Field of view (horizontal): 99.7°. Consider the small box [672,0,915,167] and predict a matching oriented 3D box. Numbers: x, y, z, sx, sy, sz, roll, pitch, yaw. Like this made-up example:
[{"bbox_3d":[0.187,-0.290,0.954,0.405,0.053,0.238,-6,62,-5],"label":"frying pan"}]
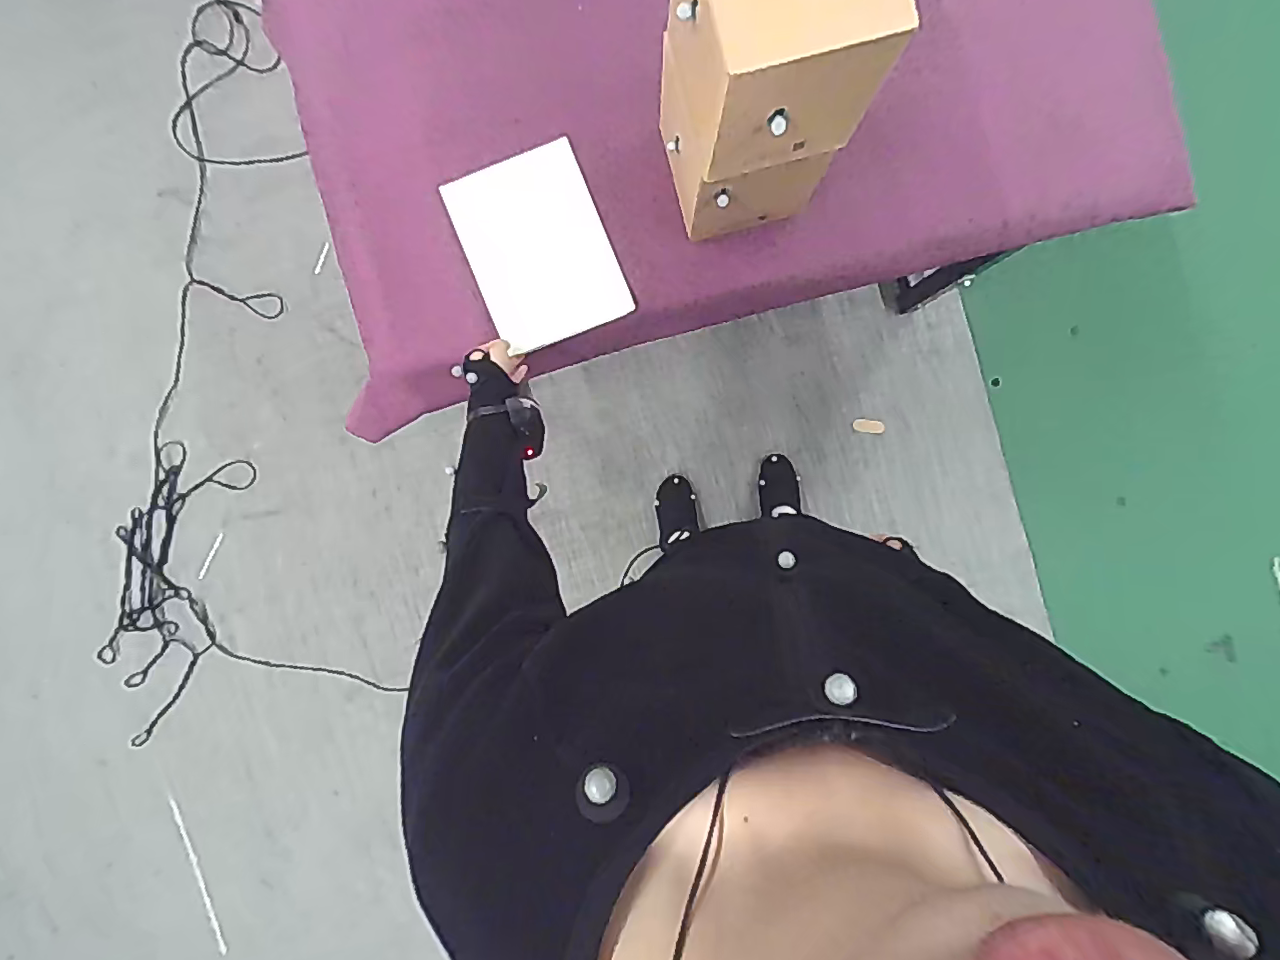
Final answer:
[{"bbox_3d":[0.131,-0.441,0.529,0.168,0.176,0.179,-15,89,0],"label":"small box"}]
